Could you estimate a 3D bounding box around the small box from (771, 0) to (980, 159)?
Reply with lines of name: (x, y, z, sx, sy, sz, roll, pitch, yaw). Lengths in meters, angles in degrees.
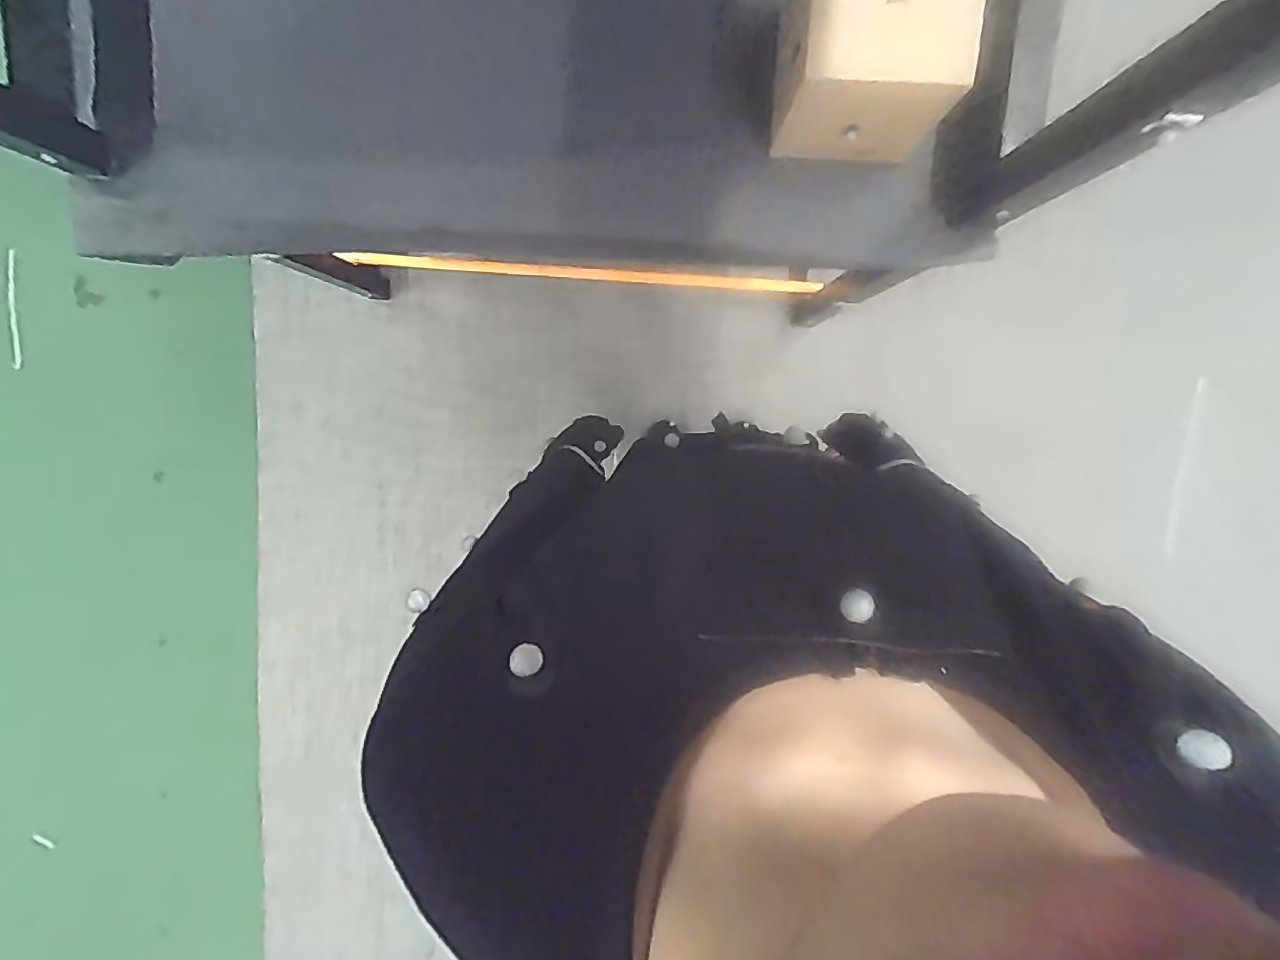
small box: (0.247, -0.484, 0.598, 0.168, 0.176, 0.179, 4, 97, 1)
